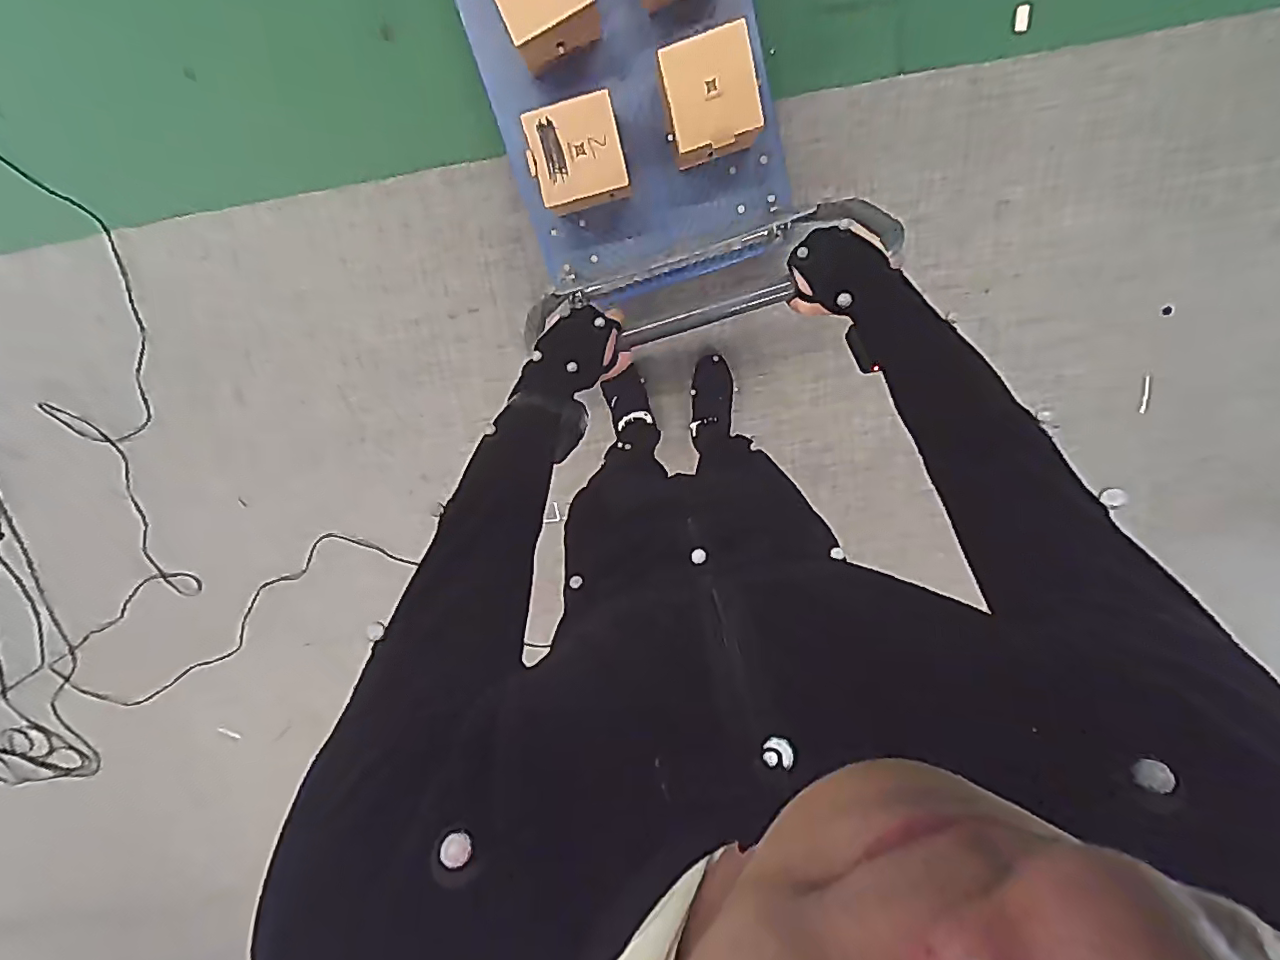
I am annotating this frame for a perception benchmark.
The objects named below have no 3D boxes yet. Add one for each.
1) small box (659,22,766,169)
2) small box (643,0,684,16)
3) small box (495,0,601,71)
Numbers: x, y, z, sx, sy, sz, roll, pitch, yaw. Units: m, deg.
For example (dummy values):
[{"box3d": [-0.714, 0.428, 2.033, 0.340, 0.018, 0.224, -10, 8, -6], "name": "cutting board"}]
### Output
[{"box3d": [0.138, -0.749, 1.076, 0.168, 0.176, 0.179, -15, 111, 7], "name": "small box"}, {"box3d": [0.057, -1.005, 0.976, 0.168, 0.176, 0.179, -22, 110, 10], "name": "small box"}, {"box3d": [-0.183, -0.912, 1.015, 0.168, 0.176, 0.179, -23, 109, 9], "name": "small box"}]
